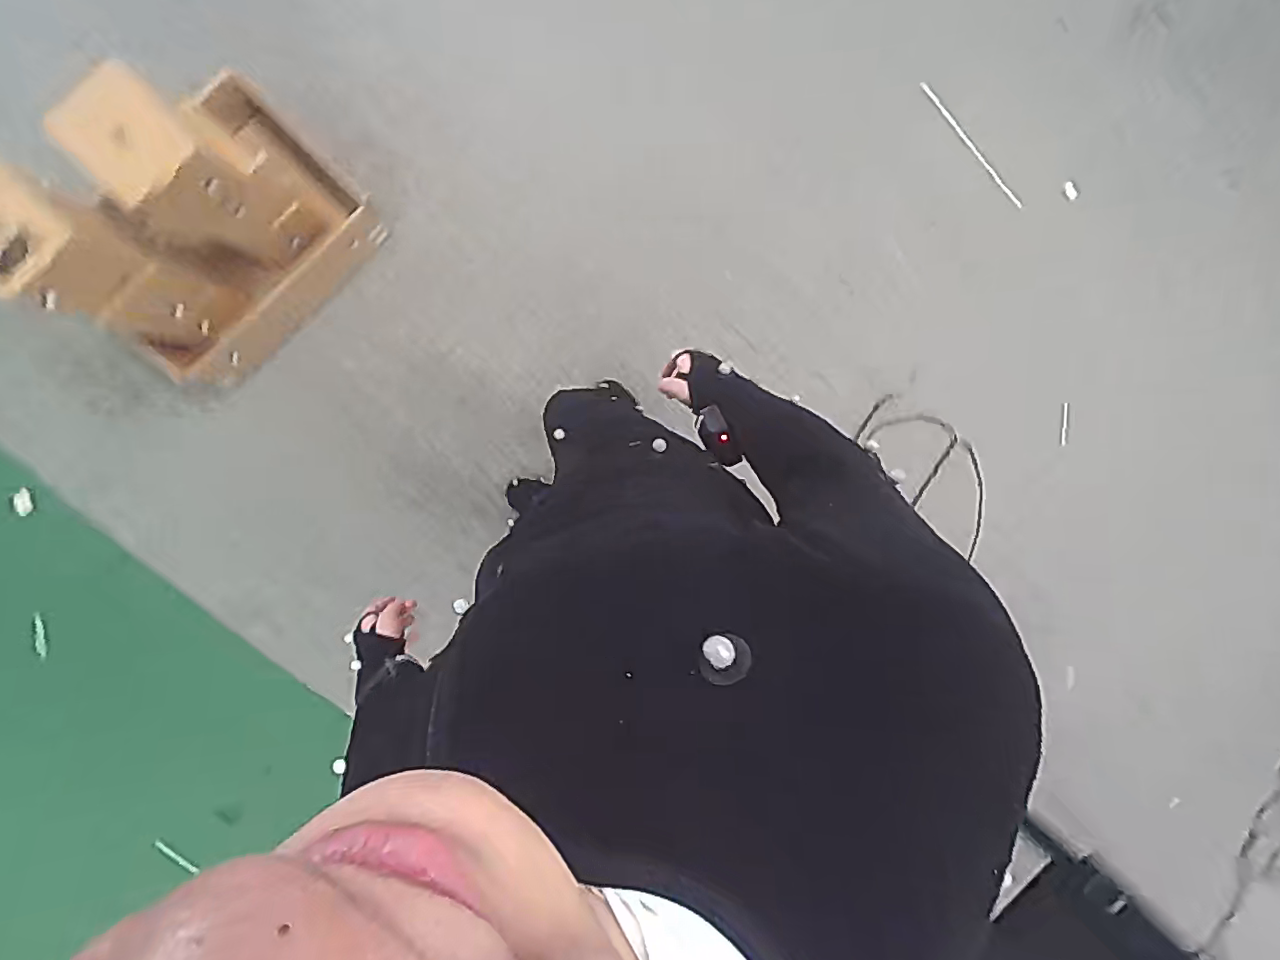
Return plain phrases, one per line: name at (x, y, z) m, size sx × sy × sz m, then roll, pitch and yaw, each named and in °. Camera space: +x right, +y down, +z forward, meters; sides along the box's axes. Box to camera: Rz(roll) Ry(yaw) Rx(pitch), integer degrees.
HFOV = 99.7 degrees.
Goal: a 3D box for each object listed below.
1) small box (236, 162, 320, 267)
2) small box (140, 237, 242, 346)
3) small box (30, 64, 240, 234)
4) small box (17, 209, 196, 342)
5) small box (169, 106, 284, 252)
small box at (-0.914, -0.633, 1.288) m, size 0.168 × 0.176 × 0.179 m, roll -44°, pitch 100°, yaw 0°
small box at (-1.113, -0.437, 1.290) m, size 0.179 × 0.176 × 0.168 m, roll 44°, pitch 89°, yaw -11°
small box at (-0.881, -0.571, 0.968) m, size 0.168 × 0.176 × 0.179 m, roll -43°, pitch 100°, yaw 0°
small box at (-1.088, -0.414, 1.127) m, size 0.168 × 0.176 × 0.179 m, roll 43°, pitch 88°, yaw -9°
small box at (-0.895, -0.610, 1.126) m, size 0.168 × 0.176 × 0.179 m, roll 42°, pitch 91°, yaw -11°
